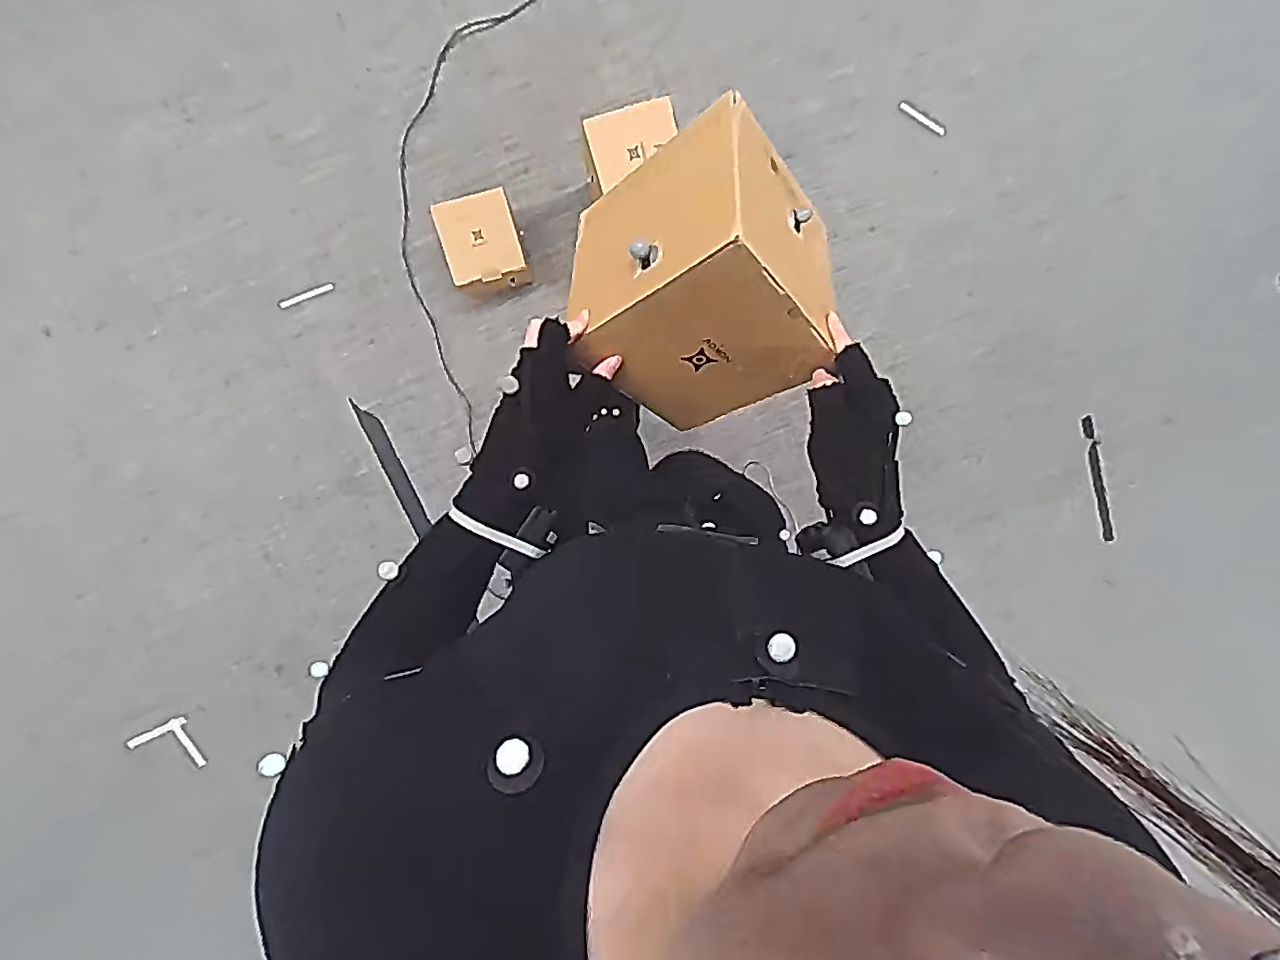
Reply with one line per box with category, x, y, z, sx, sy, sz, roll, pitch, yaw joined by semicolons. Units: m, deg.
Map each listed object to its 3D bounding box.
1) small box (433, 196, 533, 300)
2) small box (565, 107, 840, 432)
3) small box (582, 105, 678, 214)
small box;-0.359;-0.535;1.275;0.168;0.176;0.179;-16;101;-2
small box;0.058;-0.174;0.489;0.179;0.176;0.168;-21;145;37
small box;-0.013;-0.626;1.119;0.179;0.176;0.168;-17;101;-2
